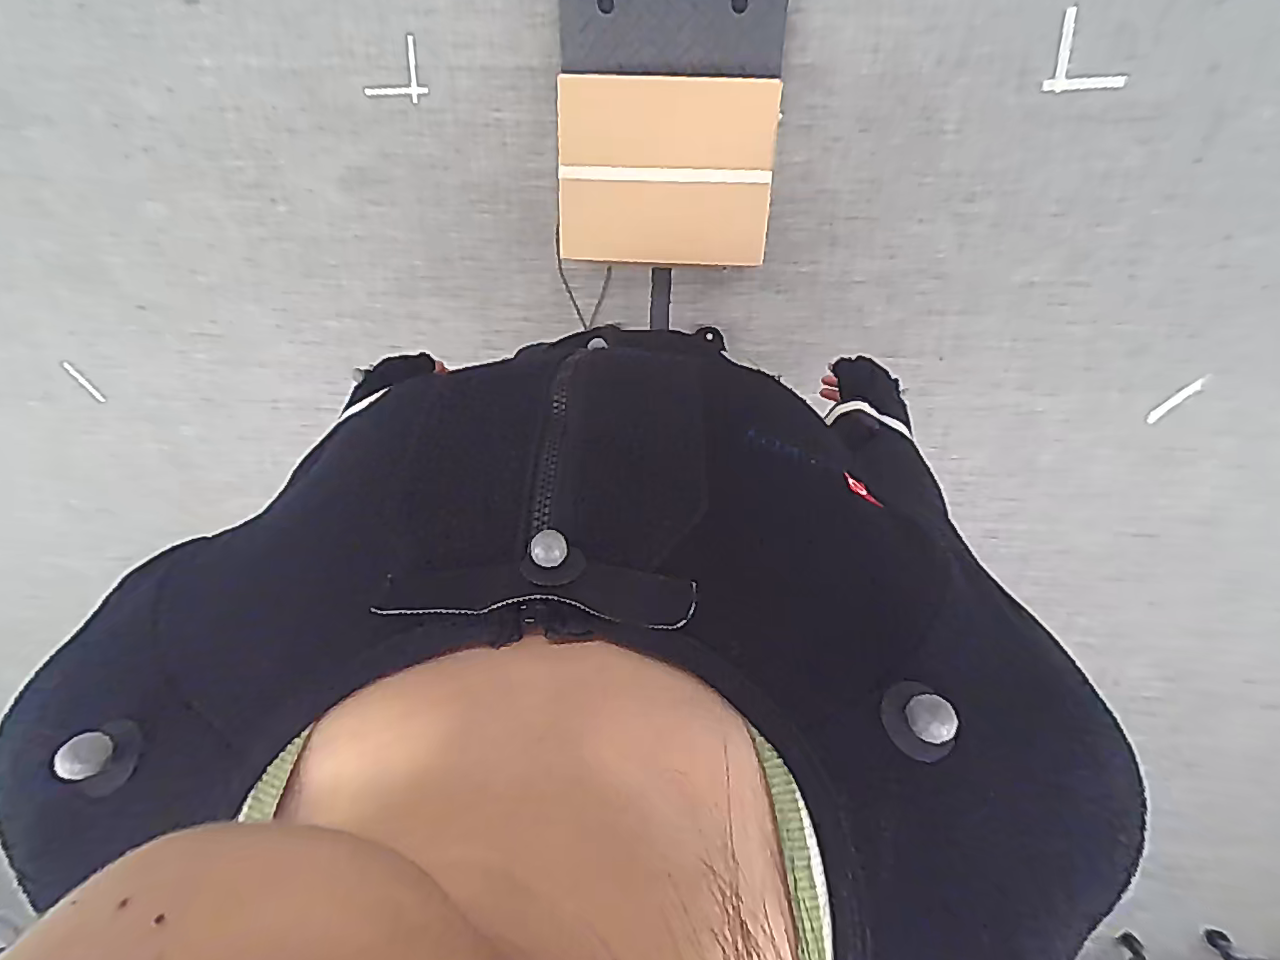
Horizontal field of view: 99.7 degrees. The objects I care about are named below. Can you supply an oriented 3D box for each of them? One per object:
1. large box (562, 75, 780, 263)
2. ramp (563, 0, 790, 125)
[{"bbox_3d":[0.062,-0.638,1.166,0.408,0.320,0.320,3,110,3],"label":"large box"},{"bbox_3d":[0.080,-1.218,1.061,0.509,0.206,0.991,0,107,2],"label":"ramp"}]
